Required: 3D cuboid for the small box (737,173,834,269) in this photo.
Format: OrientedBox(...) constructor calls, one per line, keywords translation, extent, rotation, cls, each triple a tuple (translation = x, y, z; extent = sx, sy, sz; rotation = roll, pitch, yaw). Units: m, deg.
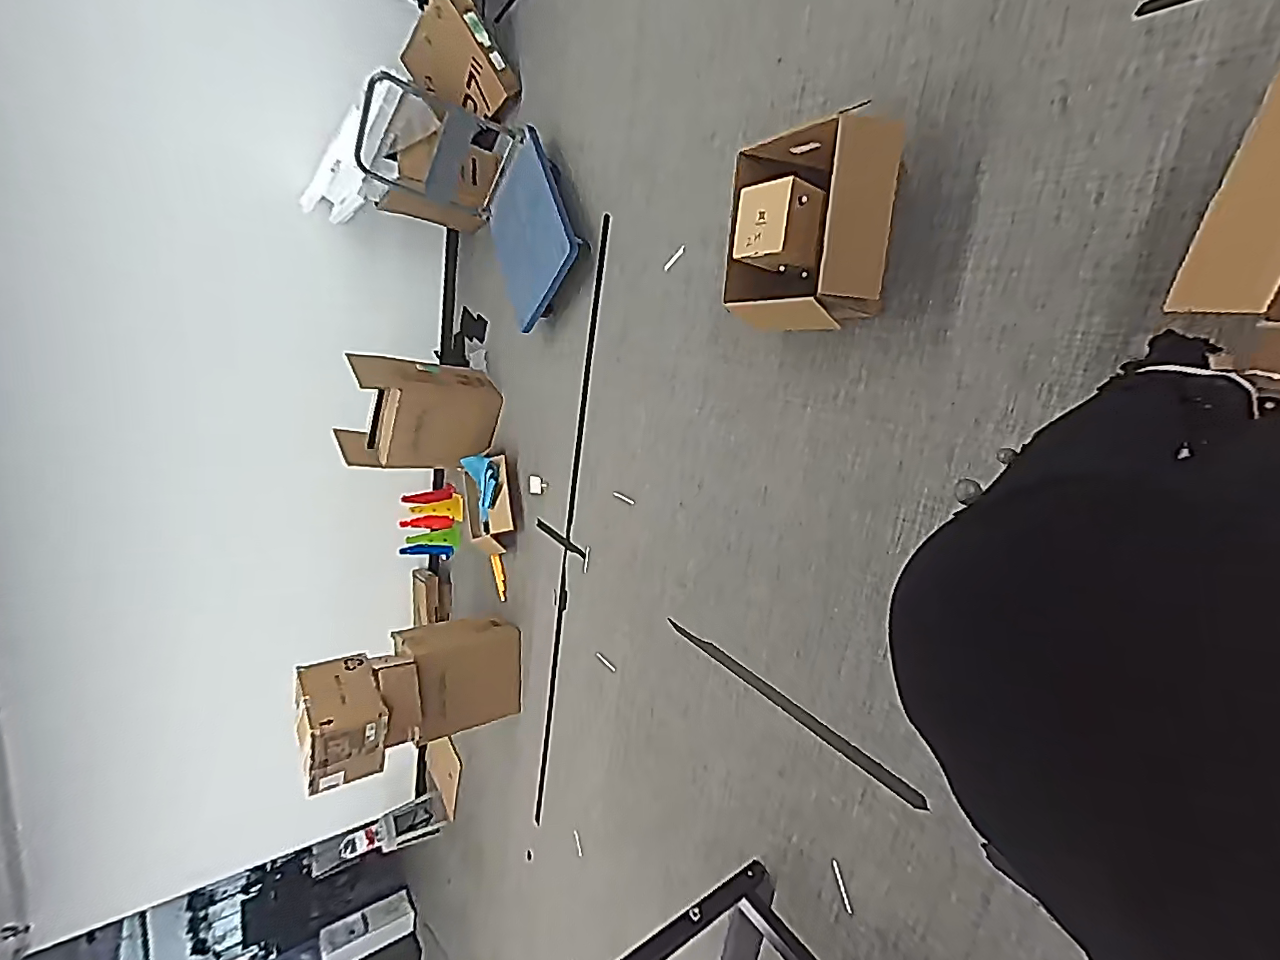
OrientedBox(translation=(0.377, -0.660, 1.399), extent=(0.168, 0.176, 0.179), rotation=(20, 108, 50), cls="small box")
